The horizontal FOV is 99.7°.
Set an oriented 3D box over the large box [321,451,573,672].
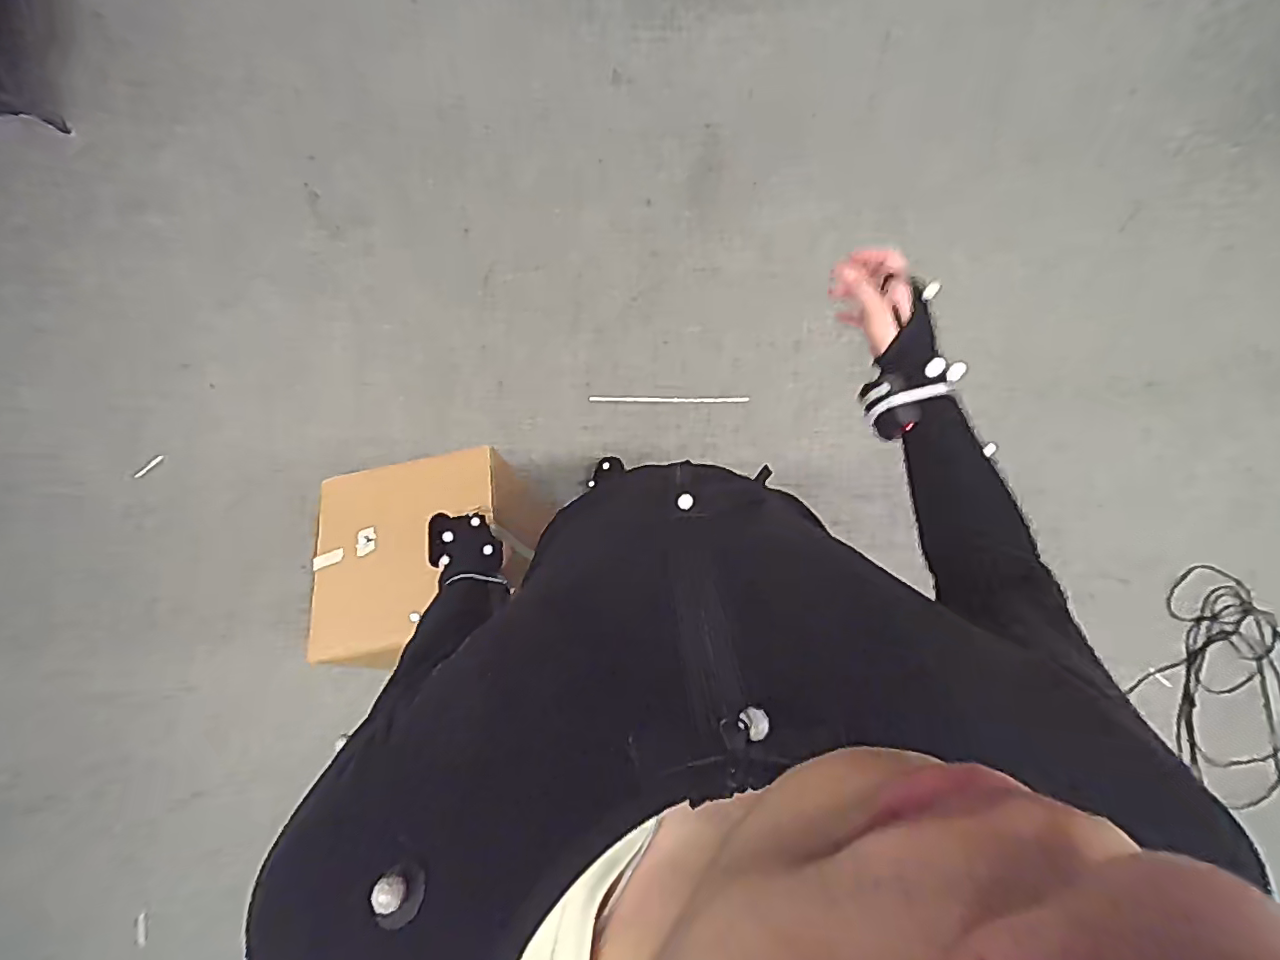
[{"bbox_3d":[-0.346,0.185,1.054,0.320,0.408,0.320,-12,67,4],"label":"large box"}]
